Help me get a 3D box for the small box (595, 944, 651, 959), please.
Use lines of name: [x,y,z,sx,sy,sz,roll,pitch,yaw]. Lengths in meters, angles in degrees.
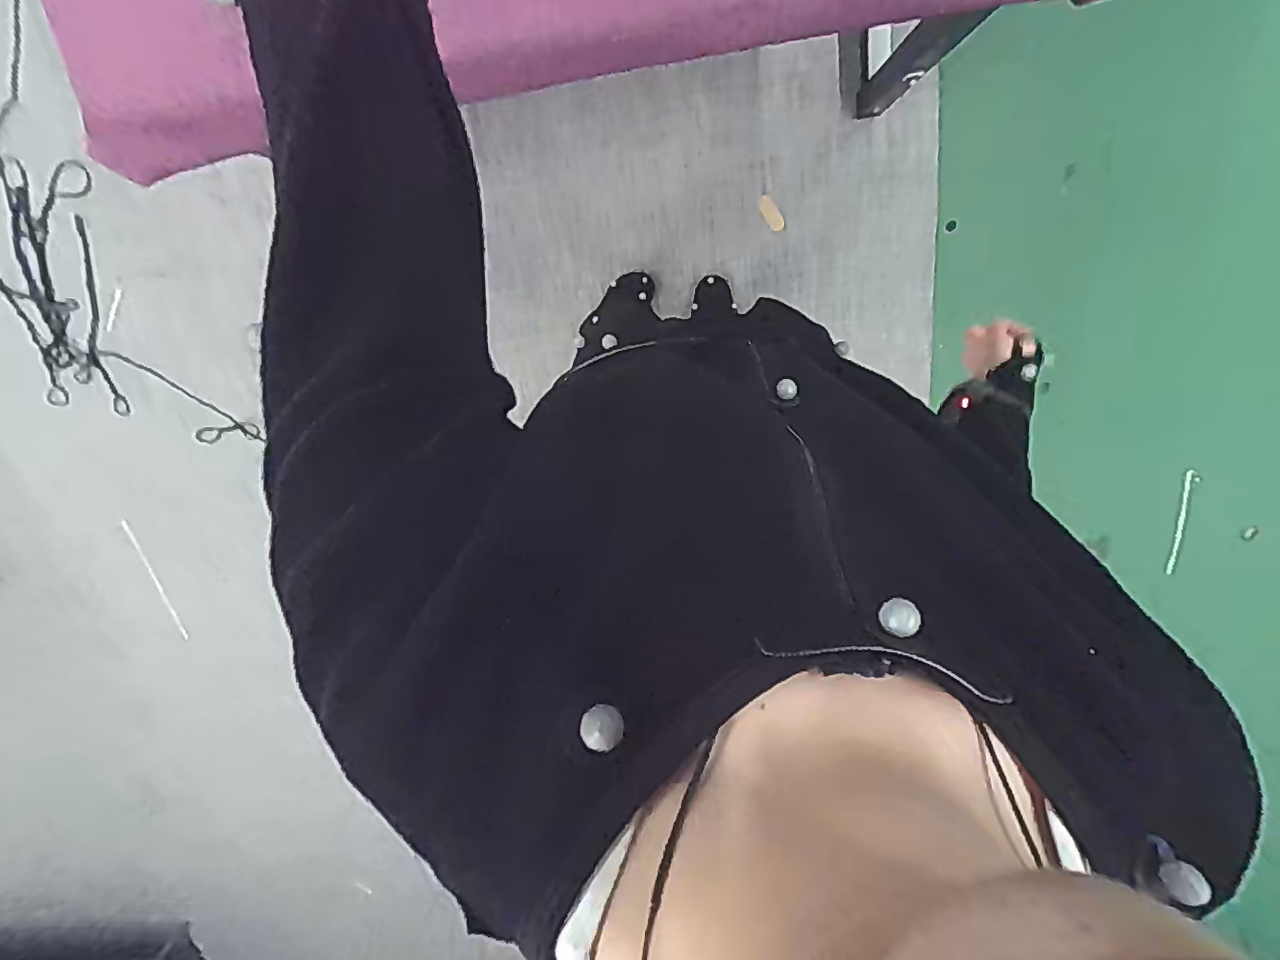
small box: [-0.056,1.497,1.569,0.168,0.176,0.179,4,109,3]
